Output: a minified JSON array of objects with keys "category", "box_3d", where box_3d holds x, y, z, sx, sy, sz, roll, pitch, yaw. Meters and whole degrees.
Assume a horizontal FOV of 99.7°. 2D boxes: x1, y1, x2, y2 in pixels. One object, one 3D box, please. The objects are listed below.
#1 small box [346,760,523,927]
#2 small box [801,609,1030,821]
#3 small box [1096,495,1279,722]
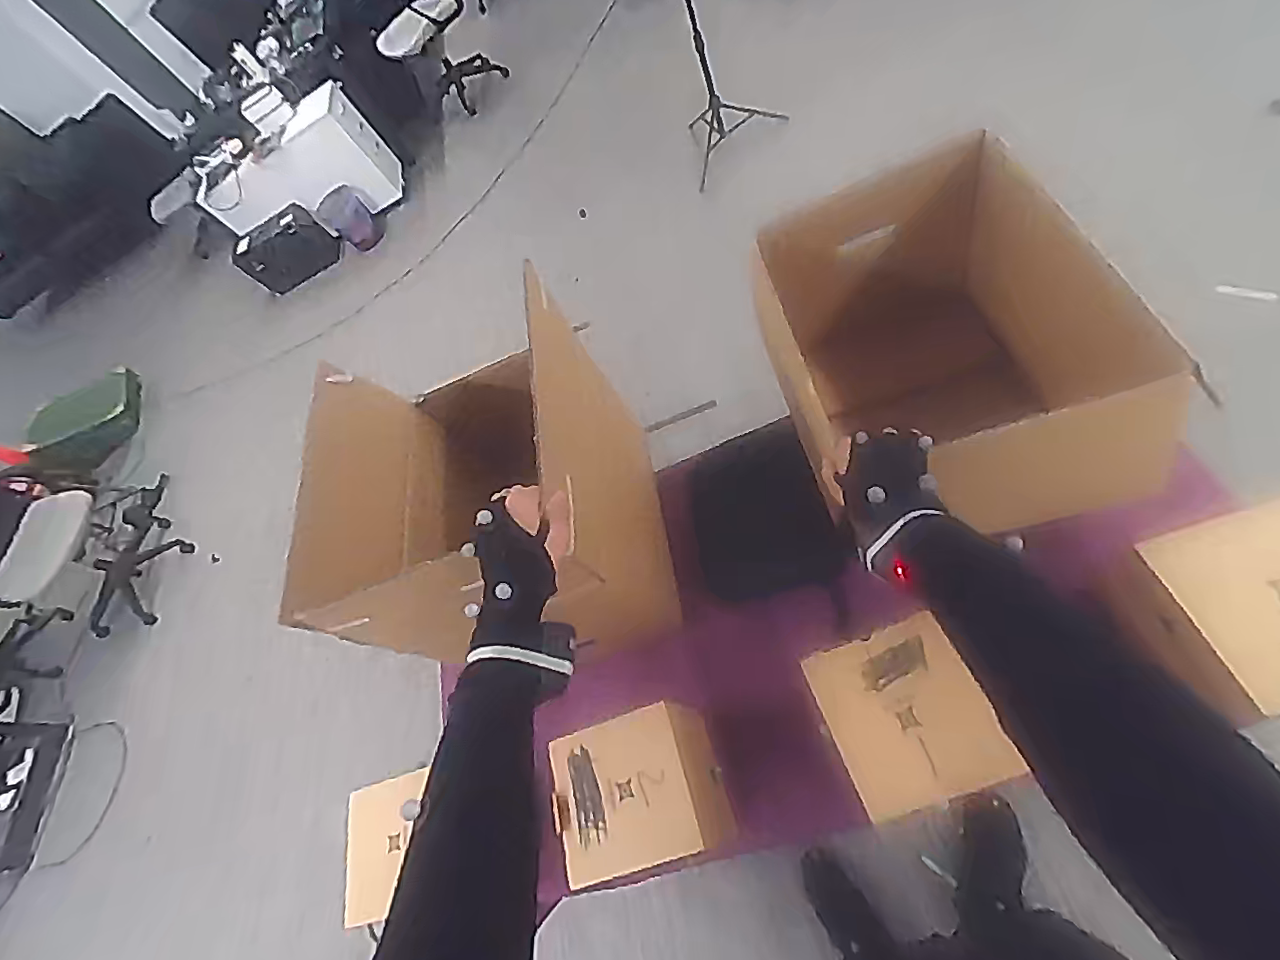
[{"category":"small box","box_3d":[-0.301,0.533,0.809,0.179,0.176,0.168,-23,58,11]},{"category":"small box","box_3d":[0.314,0.282,0.650,0.168,0.176,0.179,-27,58,11]},{"category":"small box","box_3d":[0.636,0.141,0.568,0.168,0.176,0.179,-23,57,14]}]
